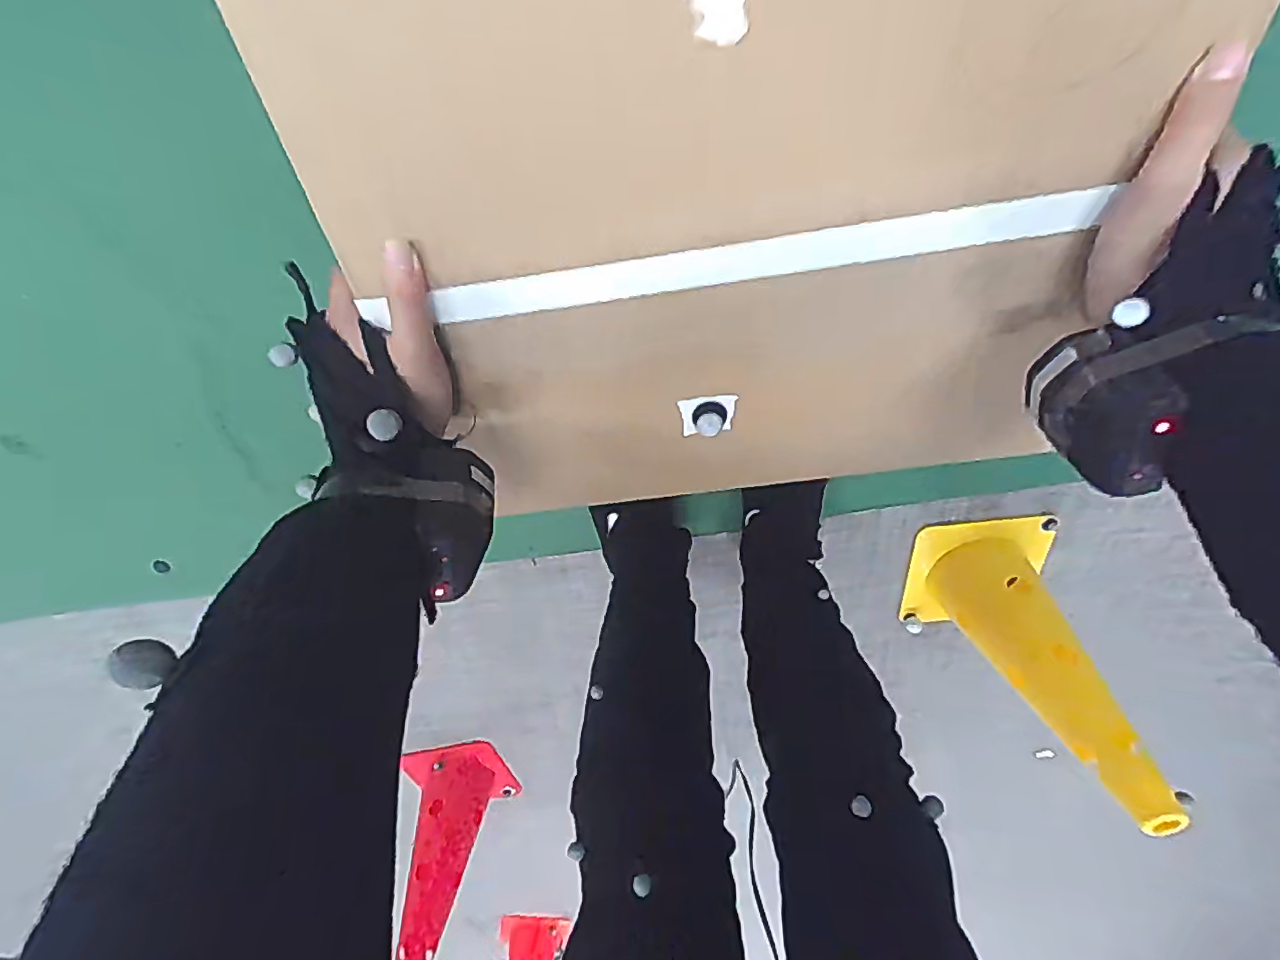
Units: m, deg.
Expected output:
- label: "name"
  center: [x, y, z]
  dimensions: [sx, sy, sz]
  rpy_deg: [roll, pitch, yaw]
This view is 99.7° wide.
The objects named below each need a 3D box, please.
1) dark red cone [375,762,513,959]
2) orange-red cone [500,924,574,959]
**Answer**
- label: "dark red cone"
  center: [-0.372, 0.702, 0.922]
  dimensions: [0.202, 0.394, 0.201]
  rpy_deg: [-14, 118, 9]
- label: "orange-red cone"
  center: [-0.296, 1.394, 1.384]
  dimensions: [0.199, 0.360, 0.198]
  rpy_deg: [10, 121, -5]
